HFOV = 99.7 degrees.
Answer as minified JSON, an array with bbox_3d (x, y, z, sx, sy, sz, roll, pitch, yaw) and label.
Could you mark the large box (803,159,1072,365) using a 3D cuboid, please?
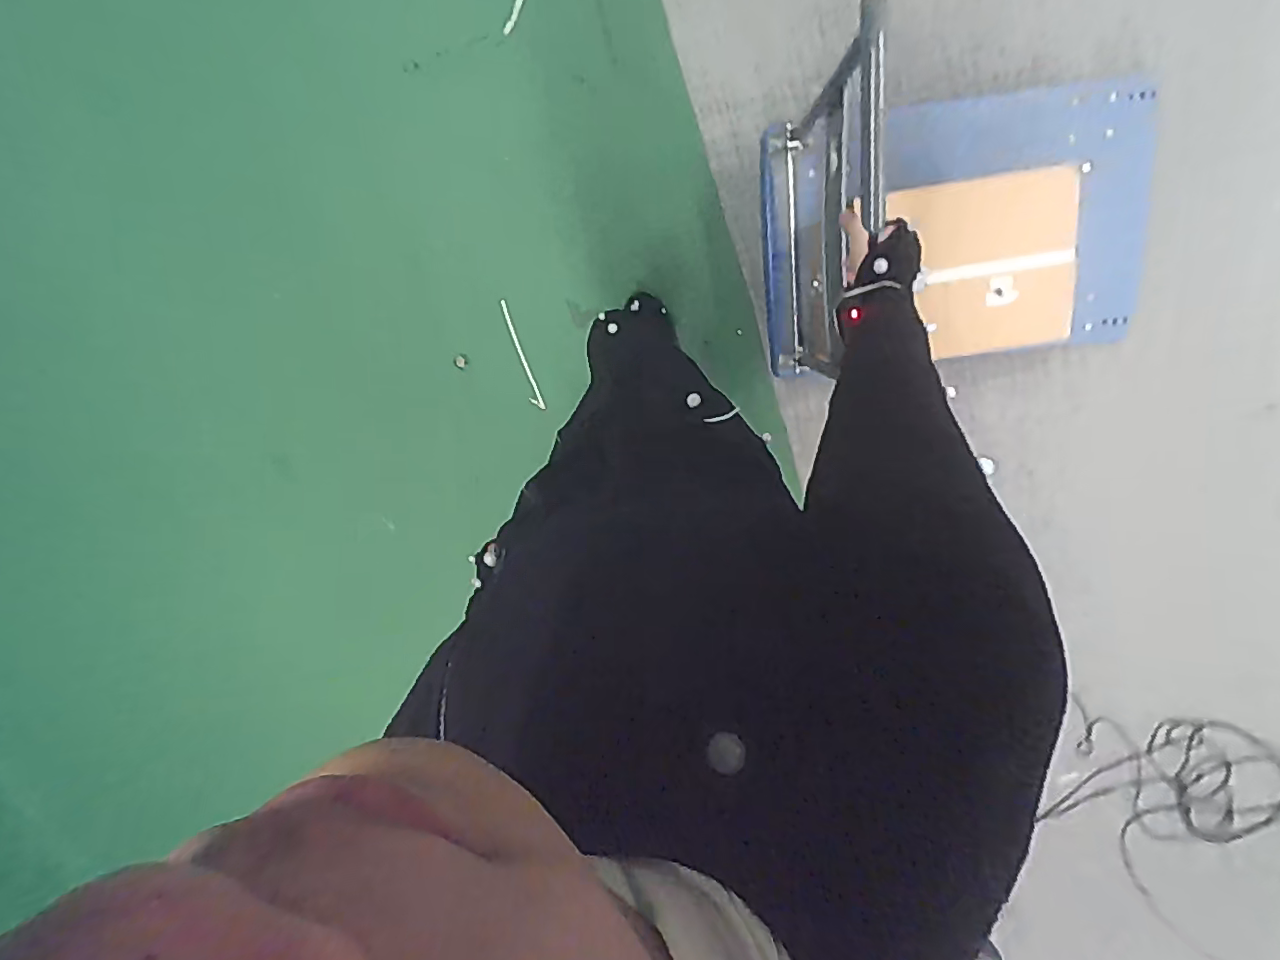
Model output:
[{"bbox_3d":[0.600,-0.443,1.159,0.408,0.320,0.320,-8,107,3],"label":"large box"}]
